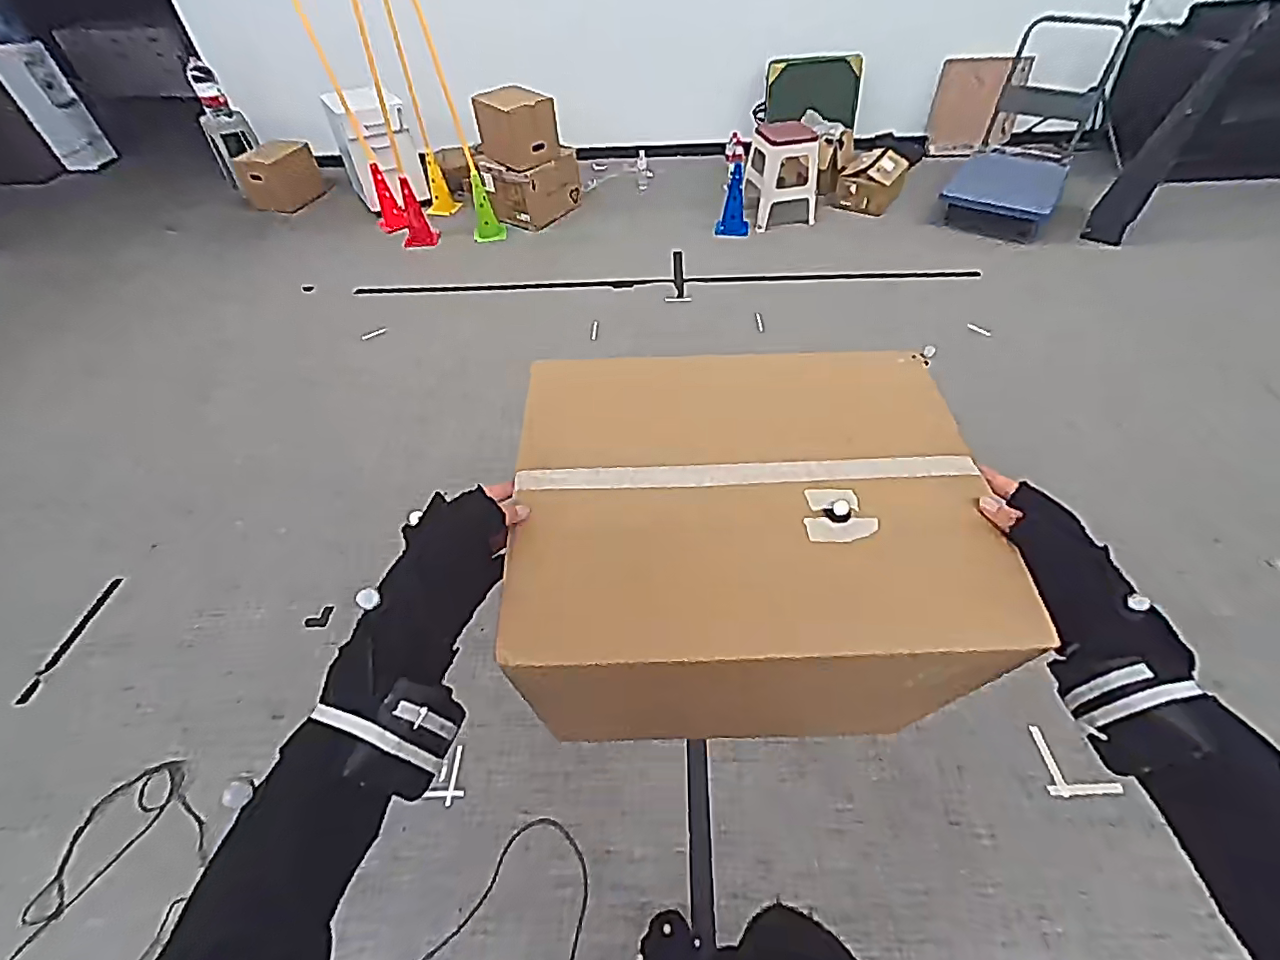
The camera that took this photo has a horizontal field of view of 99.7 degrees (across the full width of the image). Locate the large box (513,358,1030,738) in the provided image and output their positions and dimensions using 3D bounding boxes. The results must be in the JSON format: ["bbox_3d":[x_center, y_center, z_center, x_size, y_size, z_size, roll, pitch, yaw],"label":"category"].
[{"bbox_3d":[0.093,0.087,0.611,0.408,0.320,0.320,-2,56,-1],"label":"large box"}]
